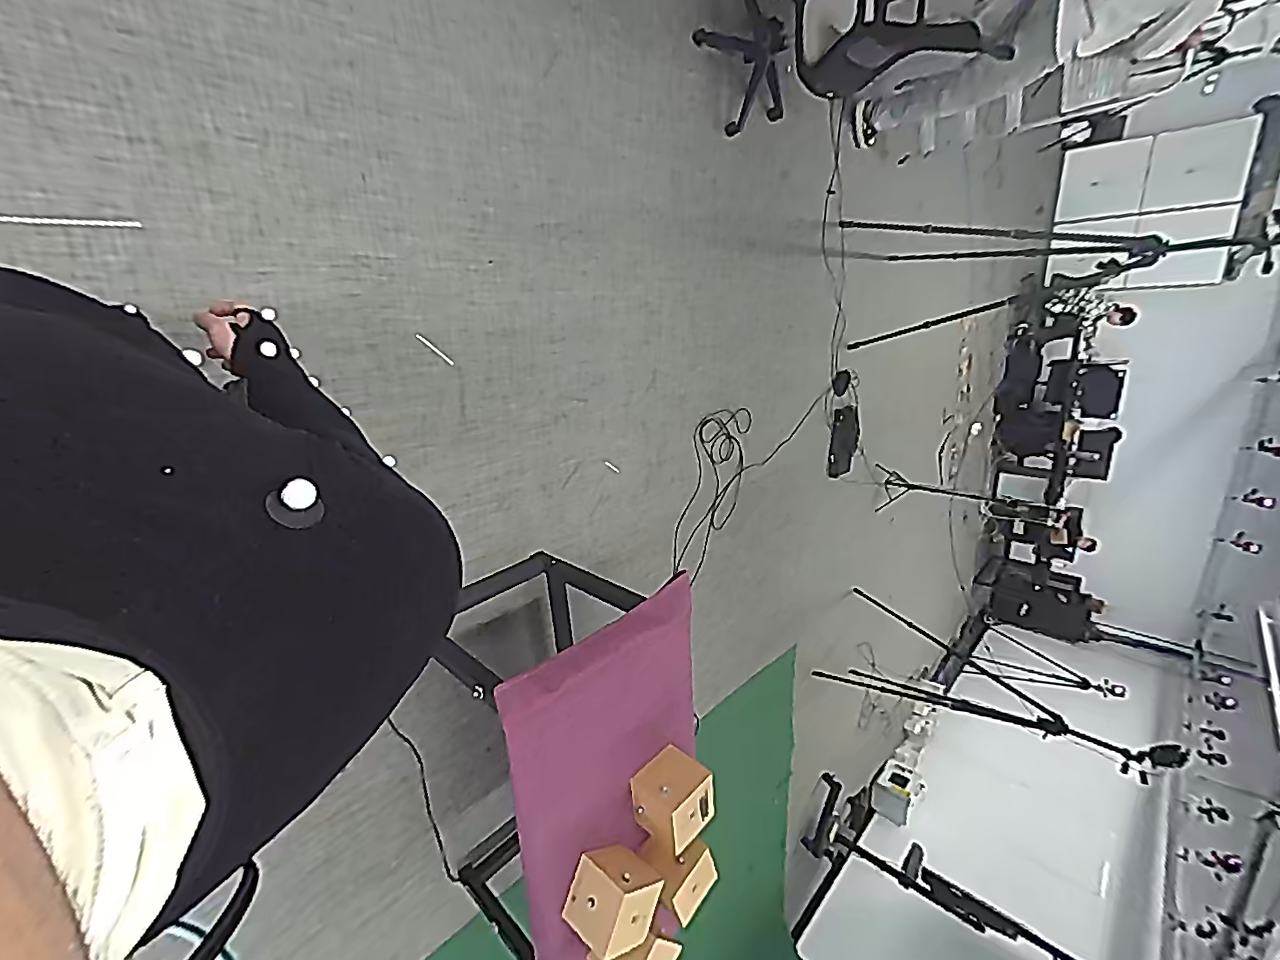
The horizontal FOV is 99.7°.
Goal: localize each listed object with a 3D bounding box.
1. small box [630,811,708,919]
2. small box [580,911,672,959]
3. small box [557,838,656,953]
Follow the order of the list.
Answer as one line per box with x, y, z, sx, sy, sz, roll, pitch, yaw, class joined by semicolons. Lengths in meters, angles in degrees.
0.083;1.187;1.678;0.179;0.176;0.168;-37;124;-35;small box
-0.042;1.362;1.587;0.168;0.176;0.179;-54;132;-24;small box
-0.094;1.111;1.464;0.179;0.176;0.168;29;79;-48;small box
